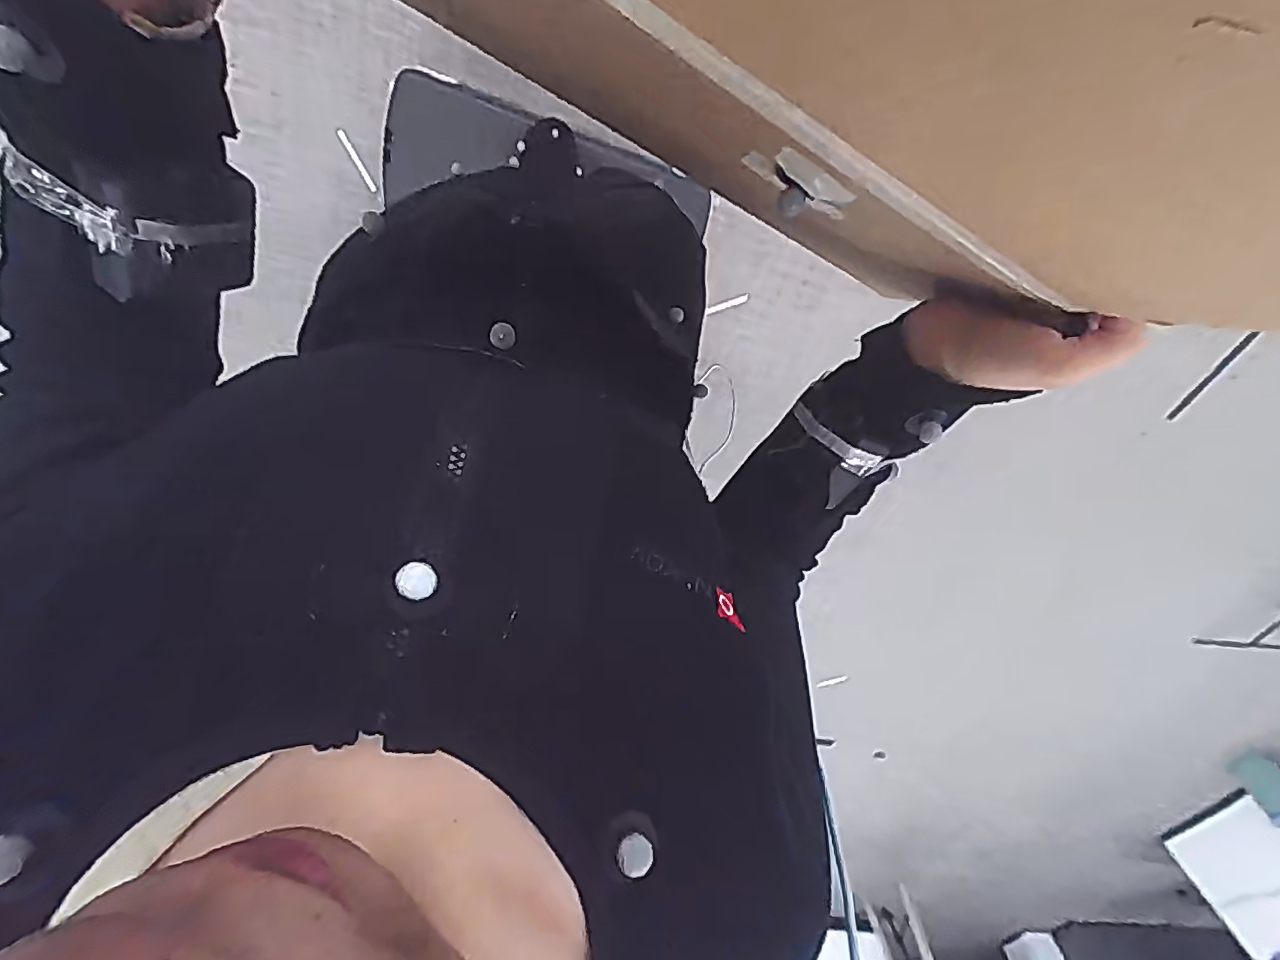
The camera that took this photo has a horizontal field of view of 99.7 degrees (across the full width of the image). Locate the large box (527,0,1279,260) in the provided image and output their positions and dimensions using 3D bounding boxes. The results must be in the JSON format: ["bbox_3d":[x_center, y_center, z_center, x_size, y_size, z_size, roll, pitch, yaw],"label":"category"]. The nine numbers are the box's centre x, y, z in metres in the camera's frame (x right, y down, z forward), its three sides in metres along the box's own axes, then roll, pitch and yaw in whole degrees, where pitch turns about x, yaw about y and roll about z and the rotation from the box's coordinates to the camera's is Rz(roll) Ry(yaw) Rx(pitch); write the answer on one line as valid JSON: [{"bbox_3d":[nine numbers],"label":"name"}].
[{"bbox_3d":[0.107,-0.294,0.122,0.408,0.320,0.320,21,107,-18],"label":"large box"}]
